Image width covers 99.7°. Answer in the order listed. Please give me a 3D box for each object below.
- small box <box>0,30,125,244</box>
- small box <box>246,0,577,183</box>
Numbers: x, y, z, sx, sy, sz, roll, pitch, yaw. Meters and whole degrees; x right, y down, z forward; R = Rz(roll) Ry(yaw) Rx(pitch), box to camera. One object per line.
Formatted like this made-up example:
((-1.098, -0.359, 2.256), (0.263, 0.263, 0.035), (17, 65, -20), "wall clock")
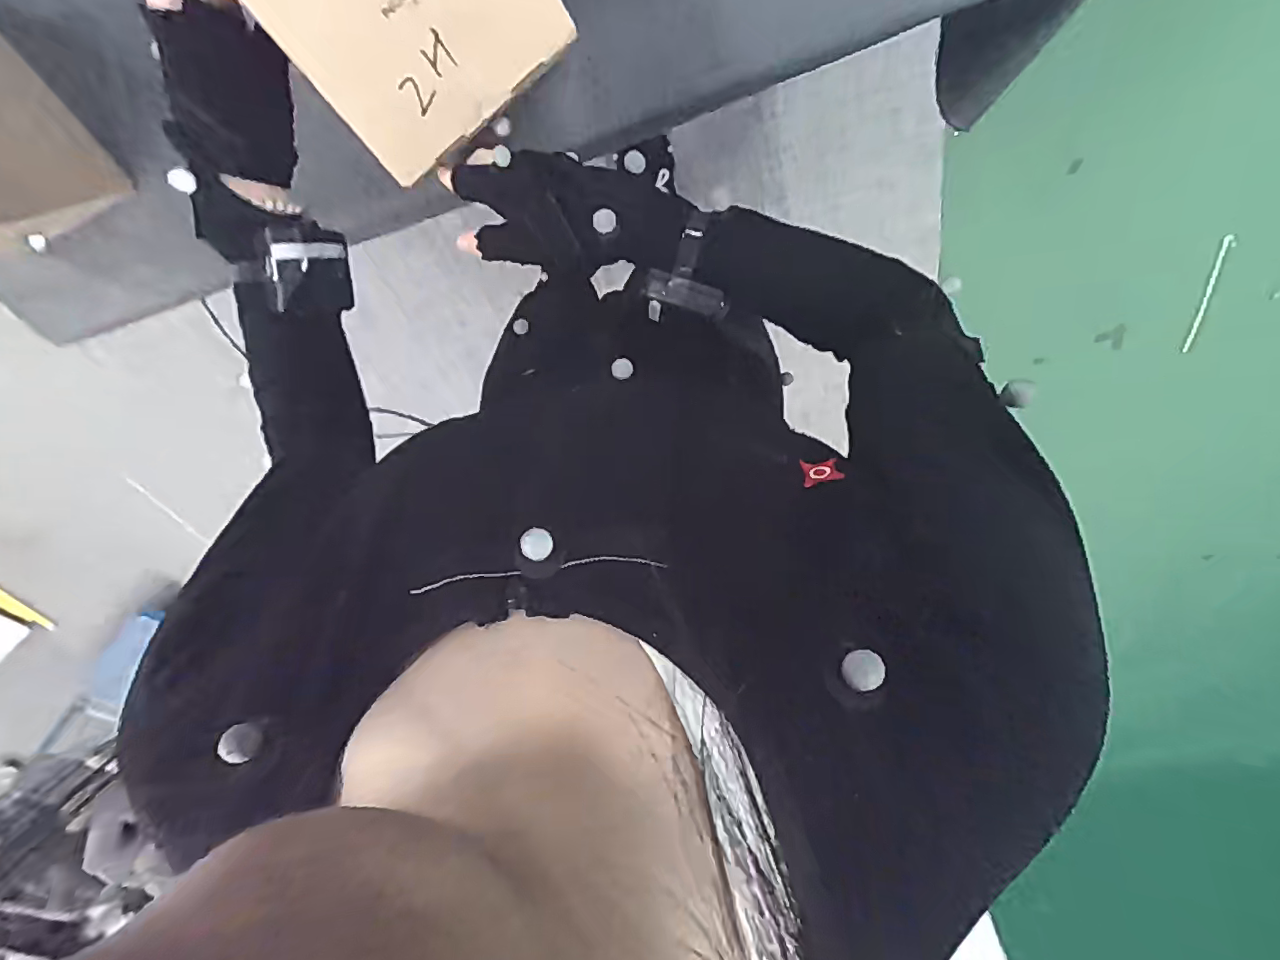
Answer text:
((-0.635, -0.303, 0.469), (0.168, 0.176, 0.179), (-16, 128, 13), "small box")
((-0.167, -0.360, 0.401), (0.168, 0.176, 0.179), (-32, 126, 14), "small box")
